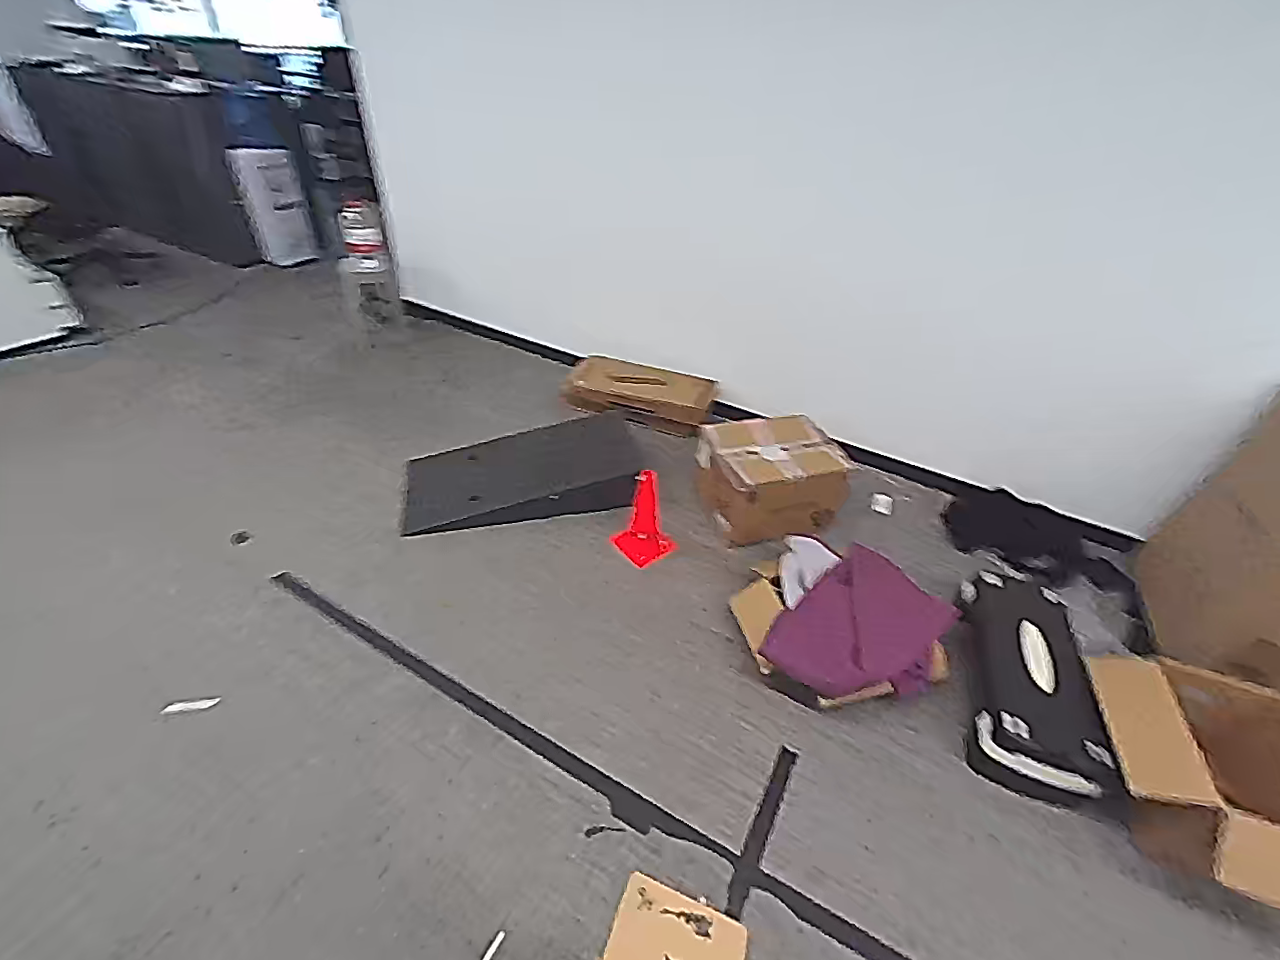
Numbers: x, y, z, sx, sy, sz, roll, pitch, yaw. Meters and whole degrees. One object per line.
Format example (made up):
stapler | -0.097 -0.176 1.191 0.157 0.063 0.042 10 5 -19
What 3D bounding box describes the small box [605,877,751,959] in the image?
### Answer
small box | 0.033 0.669 0.697 0.168 0.176 0.179 16 41 16
